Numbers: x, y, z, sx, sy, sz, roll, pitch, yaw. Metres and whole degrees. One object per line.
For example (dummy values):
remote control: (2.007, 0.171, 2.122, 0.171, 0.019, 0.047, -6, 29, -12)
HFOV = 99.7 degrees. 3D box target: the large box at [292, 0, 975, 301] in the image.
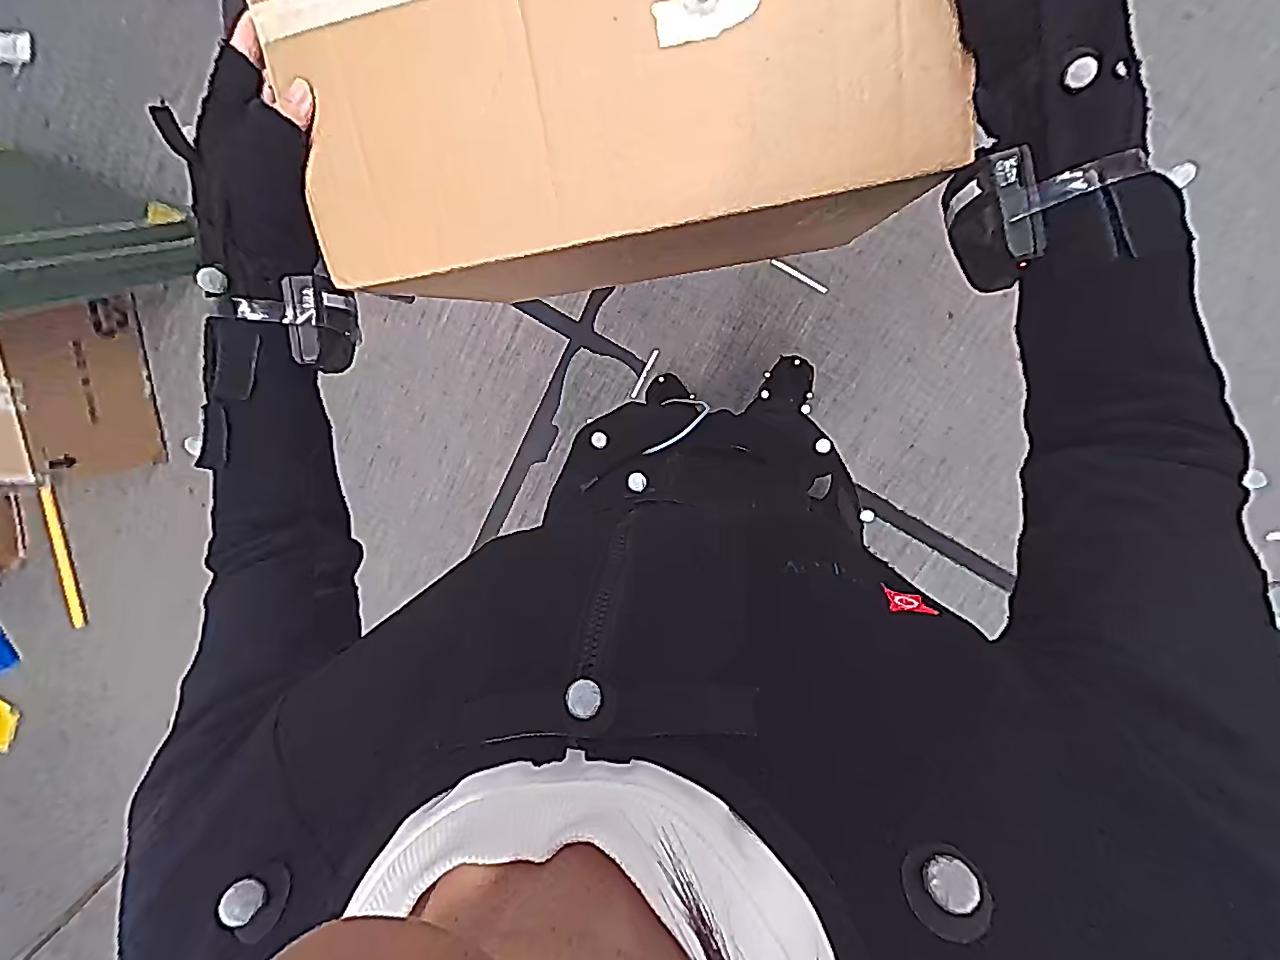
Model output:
large box: (-0.005, -0.348, 0.452, 0.408, 0.320, 0.320, -6, 105, 10)
